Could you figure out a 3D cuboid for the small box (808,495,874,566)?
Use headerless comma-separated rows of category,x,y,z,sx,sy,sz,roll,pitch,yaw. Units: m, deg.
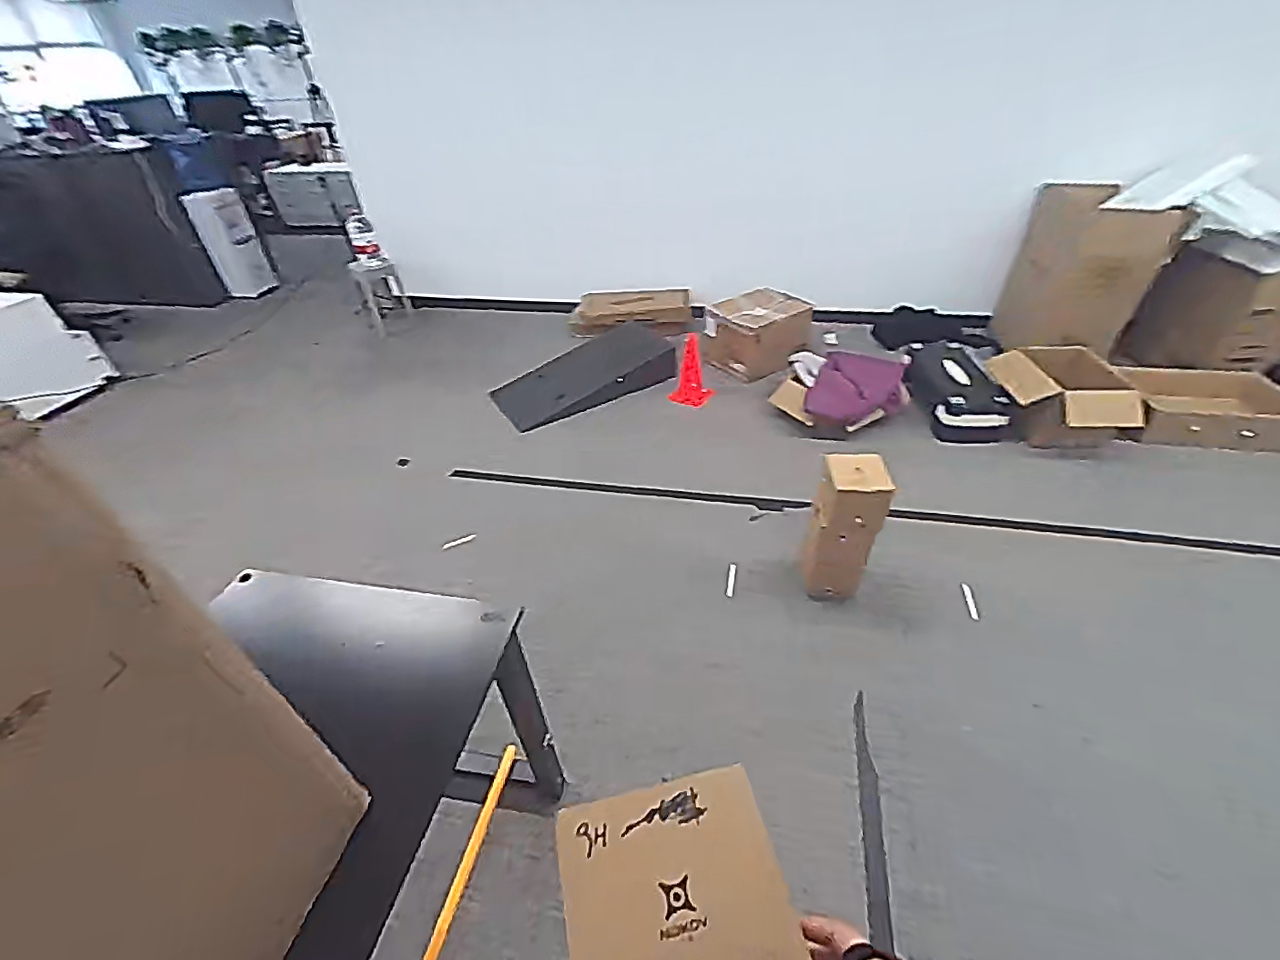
small box,0.654,0.167,1.779,0.179,0.176,0.168,2,39,7

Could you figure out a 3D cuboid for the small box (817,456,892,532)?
small box,0.653,0.042,1.671,0.168,0.176,0.179,-1,39,5

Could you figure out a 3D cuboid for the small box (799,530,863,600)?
small box,0.657,0.296,1.882,0.168,0.176,0.179,0,40,6

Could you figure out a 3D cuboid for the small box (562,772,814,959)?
small box,0.037,0.374,0.441,0.168,0.176,0.179,-10,44,-7
